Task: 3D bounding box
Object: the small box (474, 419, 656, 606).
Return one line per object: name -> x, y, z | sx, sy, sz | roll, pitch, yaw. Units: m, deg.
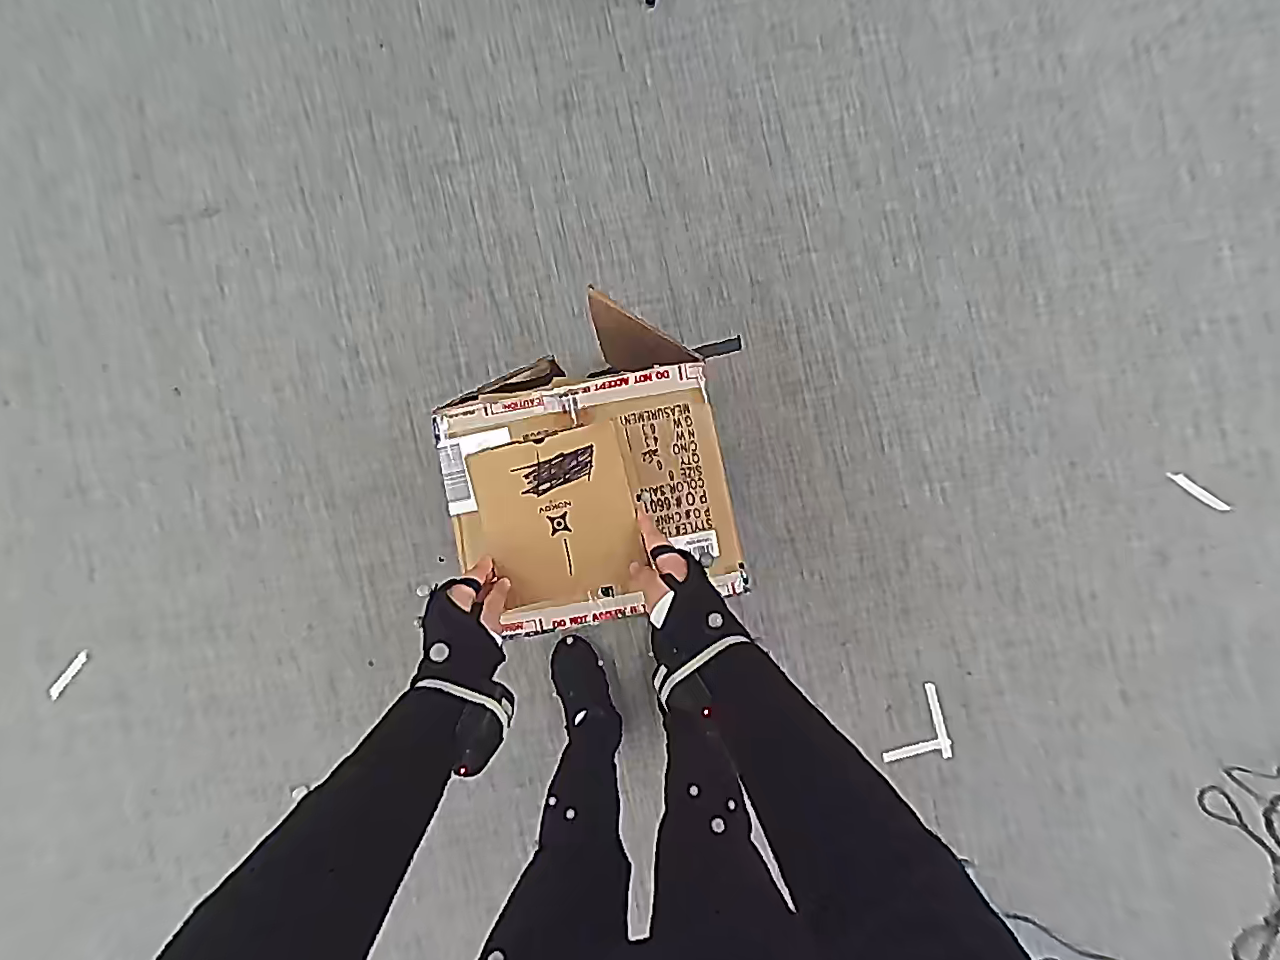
small box -> -0.080, 0.033, 0.662 | 0.168, 0.176, 0.179 | -14, 93, 3
